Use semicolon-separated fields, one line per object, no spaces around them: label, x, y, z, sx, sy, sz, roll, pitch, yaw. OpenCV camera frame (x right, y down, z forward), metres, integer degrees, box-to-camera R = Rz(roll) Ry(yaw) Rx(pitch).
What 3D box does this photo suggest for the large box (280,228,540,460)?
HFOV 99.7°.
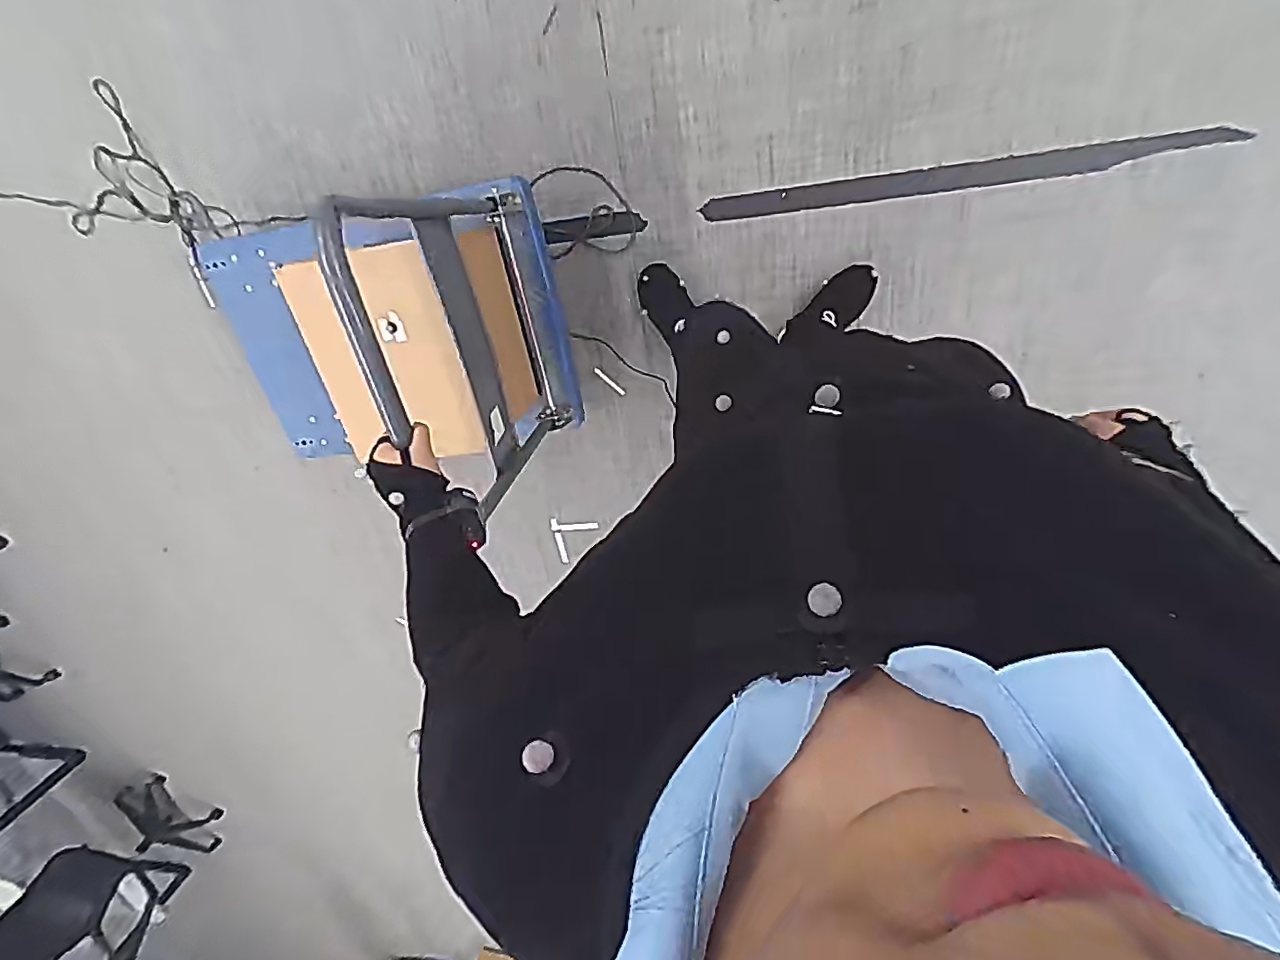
large box;-0.455;-0.297;1.174;0.320;0.320;0.408;-5;116;13
